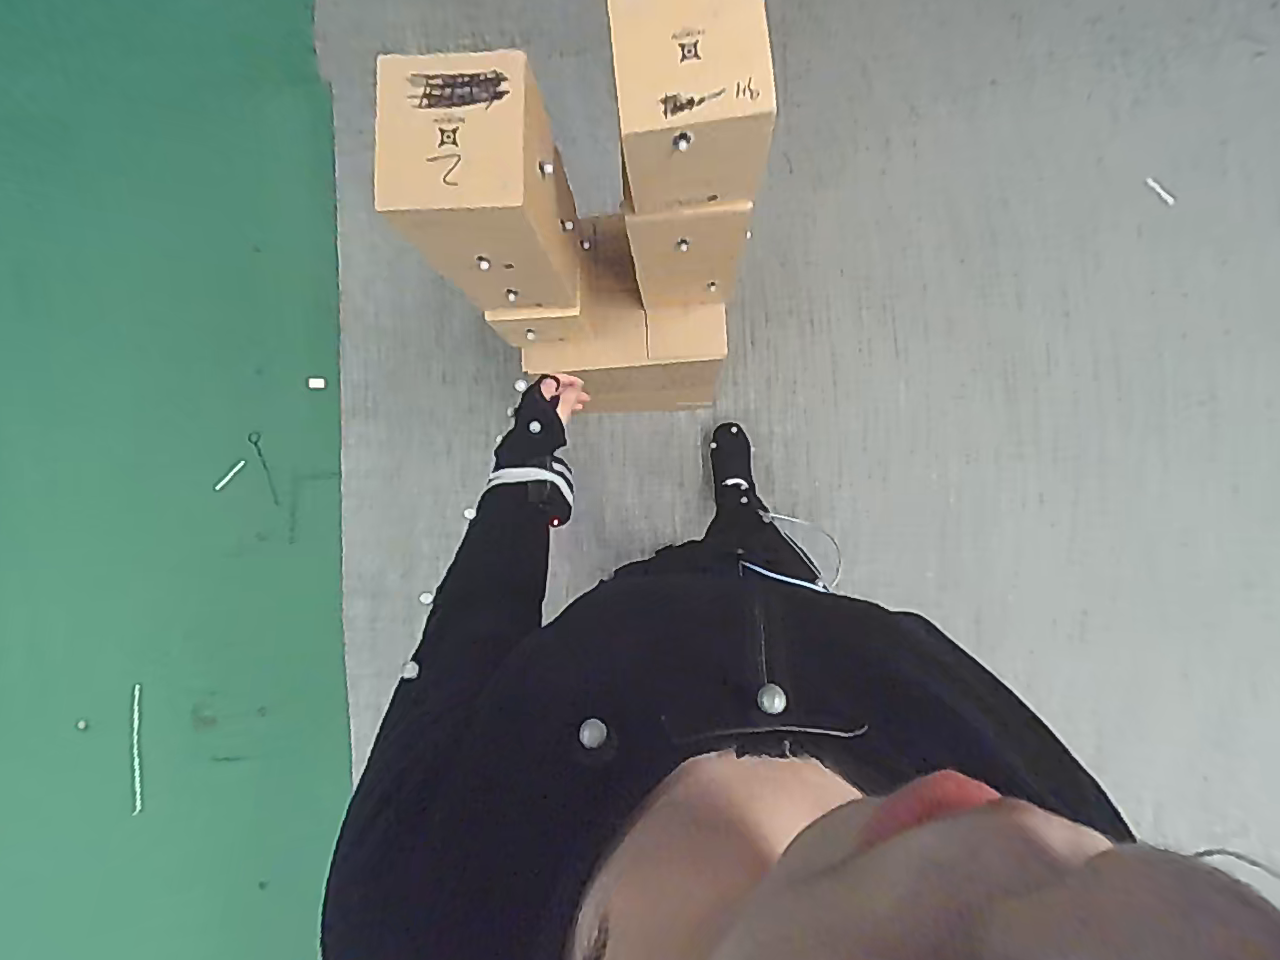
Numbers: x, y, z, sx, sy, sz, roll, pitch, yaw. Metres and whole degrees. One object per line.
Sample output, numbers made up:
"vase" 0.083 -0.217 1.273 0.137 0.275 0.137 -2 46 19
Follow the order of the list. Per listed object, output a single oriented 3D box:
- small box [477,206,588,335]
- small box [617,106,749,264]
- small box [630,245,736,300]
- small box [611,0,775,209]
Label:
"small box" -0.188 -0.369 0.986 0.168 0.176 0.179 -1 88 3
"small box" 0.064 -0.440 0.809 0.179 0.176 0.168 -2 88 5
"small box" 0.073 -0.437 0.973 0.179 0.176 0.168 -4 88 5
"small box" 0.059 -0.458 0.645 0.168 0.176 0.179 -5 87 5
